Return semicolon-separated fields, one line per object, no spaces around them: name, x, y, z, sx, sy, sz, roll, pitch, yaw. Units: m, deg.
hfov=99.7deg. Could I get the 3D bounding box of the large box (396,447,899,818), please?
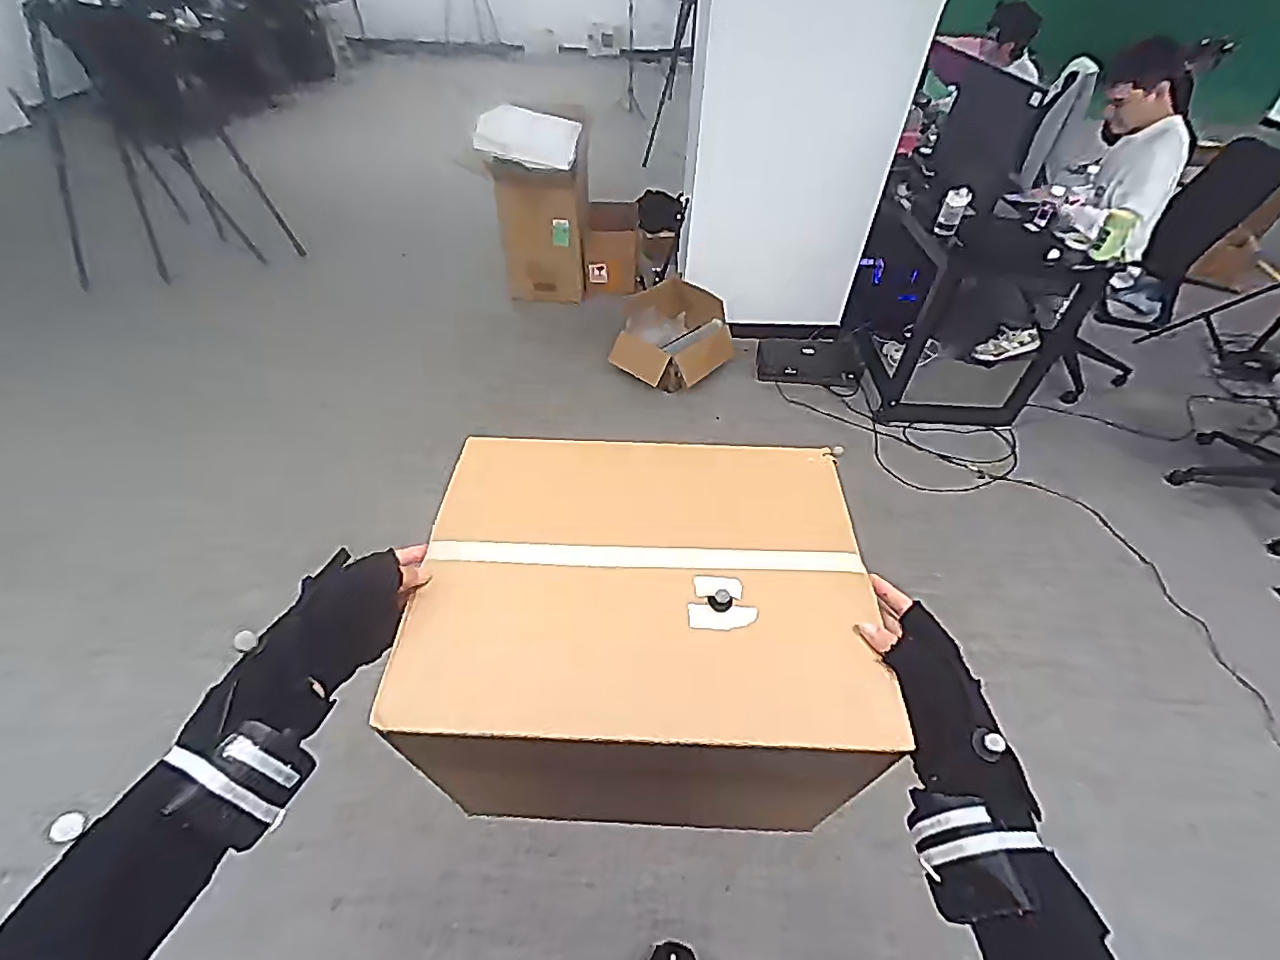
large box;0.005;0.180;0.628;0.408;0.320;0.320;2;48;1
